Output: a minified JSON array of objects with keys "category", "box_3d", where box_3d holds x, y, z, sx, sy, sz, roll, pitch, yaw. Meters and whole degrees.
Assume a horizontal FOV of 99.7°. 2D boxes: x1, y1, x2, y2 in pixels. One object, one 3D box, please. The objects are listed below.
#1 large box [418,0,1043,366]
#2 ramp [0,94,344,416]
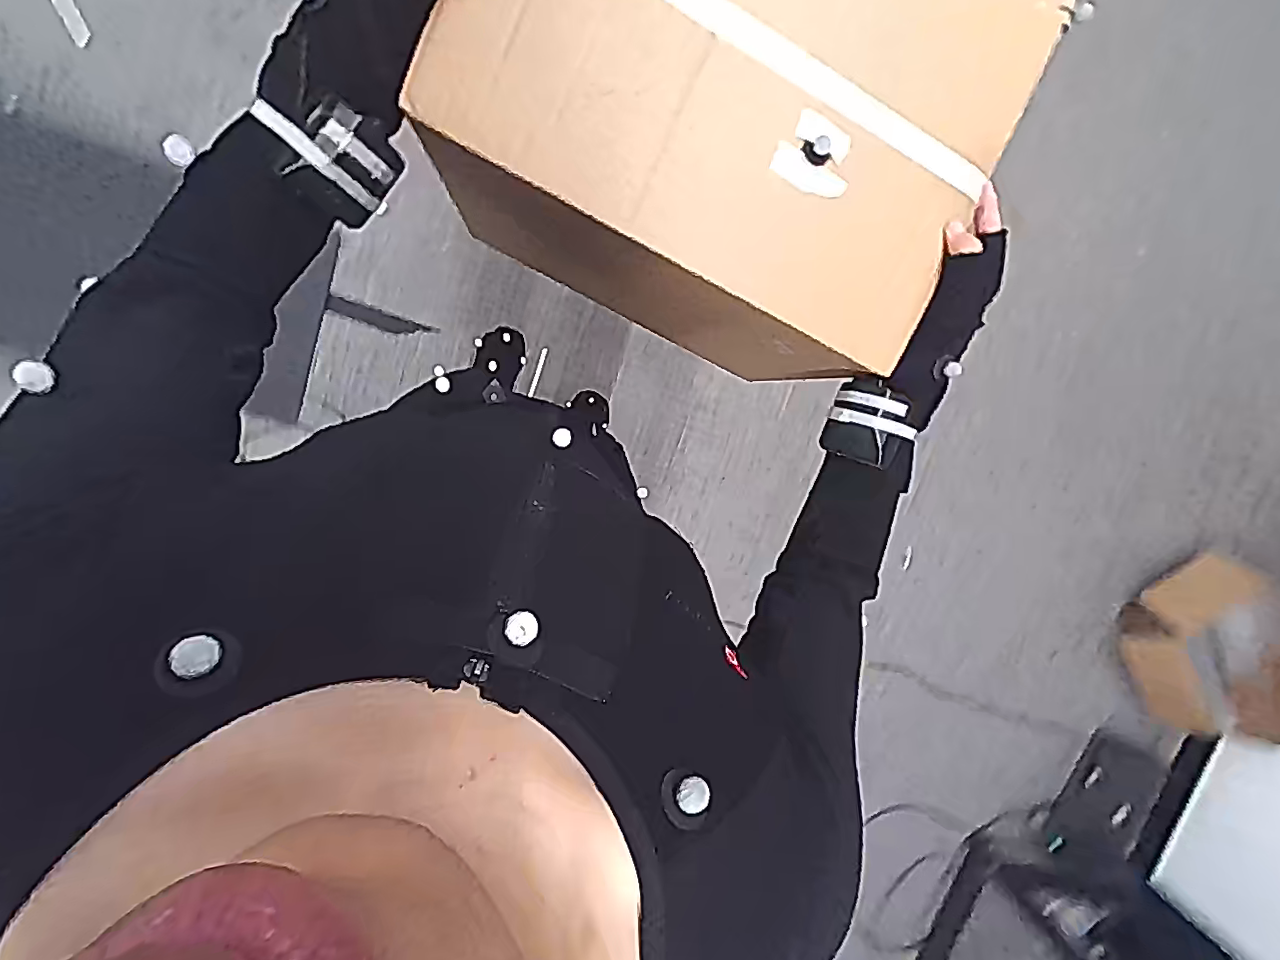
[{"category":"large box","box_3d":[0.057,-0.340,0.542,0.408,0.320,0.320,23,96,-13]},{"category":"ramp","box_3d":[-1.235,-0.514,1.170,0.991,0.206,0.509,16,98,-10]}]
